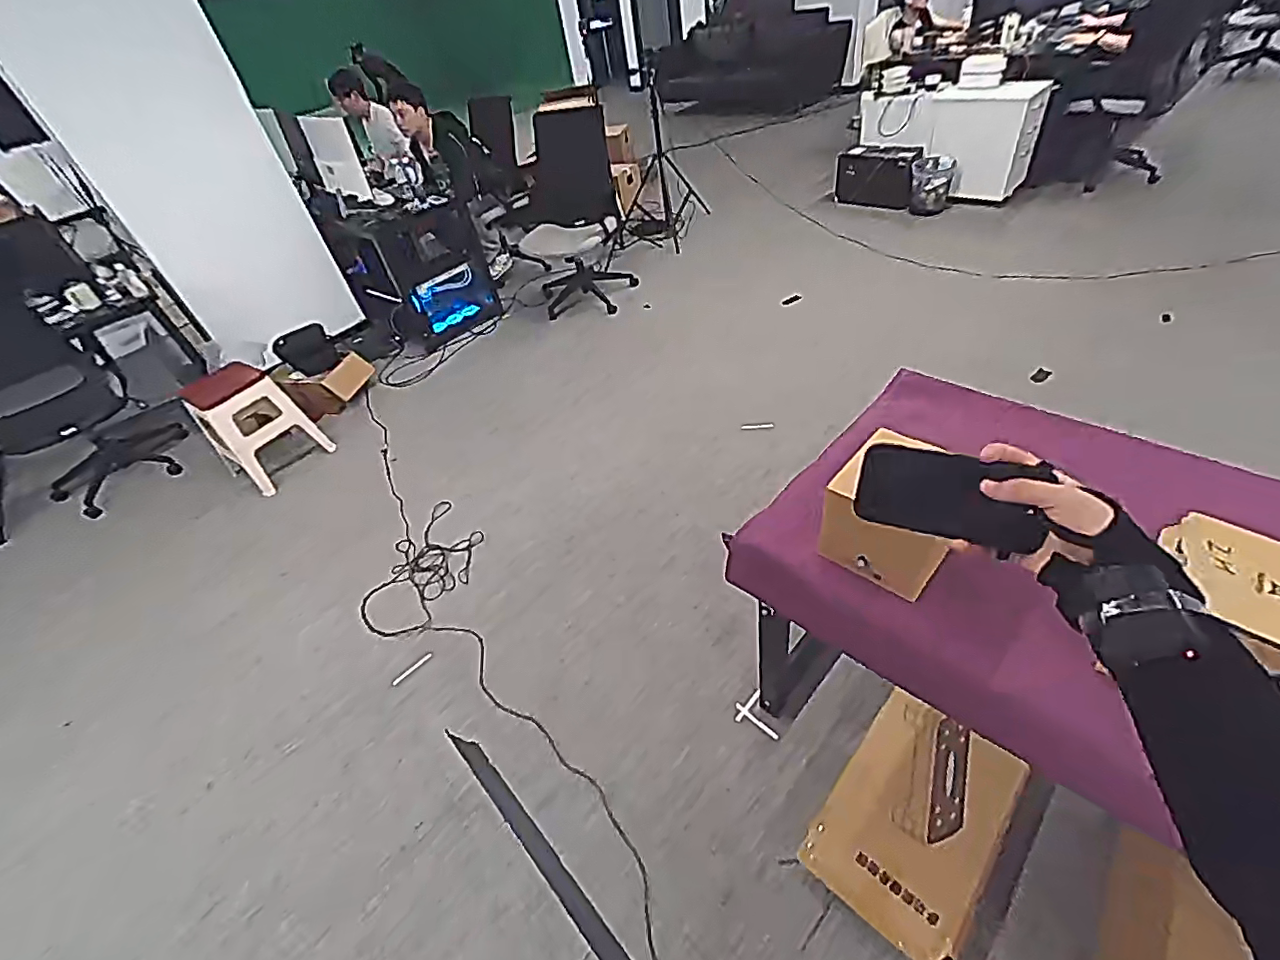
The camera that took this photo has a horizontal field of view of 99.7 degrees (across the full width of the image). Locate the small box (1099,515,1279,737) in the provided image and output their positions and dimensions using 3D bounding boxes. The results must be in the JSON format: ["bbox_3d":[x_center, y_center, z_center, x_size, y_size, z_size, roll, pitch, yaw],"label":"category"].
[{"bbox_3d":[0.719,0.181,0.660,0.179,0.176,0.168,28,54,35],"label":"small box"}]
